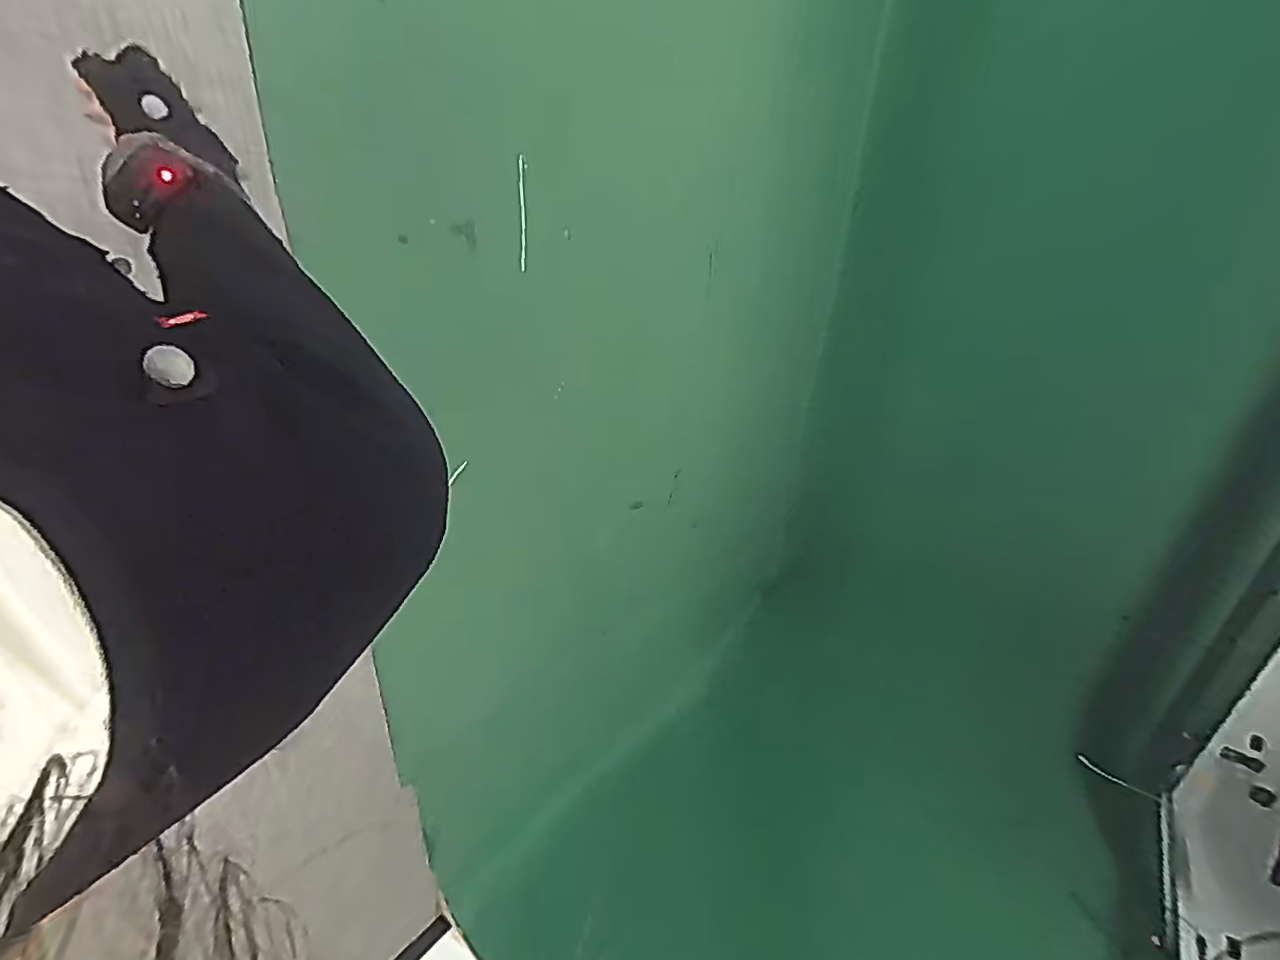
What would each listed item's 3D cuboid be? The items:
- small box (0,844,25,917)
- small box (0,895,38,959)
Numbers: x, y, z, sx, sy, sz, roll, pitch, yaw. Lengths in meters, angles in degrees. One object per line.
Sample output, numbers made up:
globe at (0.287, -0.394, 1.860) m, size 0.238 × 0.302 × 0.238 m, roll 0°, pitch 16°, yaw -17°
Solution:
small box at (-1.364, 0.865, 1.062) m, size 0.179 × 0.176 × 0.168 m, roll -24°, pitch 127°, yaw -45°
small box at (-1.235, 0.921, 0.977) m, size 0.179 × 0.176 × 0.168 m, roll -21°, pitch 125°, yaw -47°
